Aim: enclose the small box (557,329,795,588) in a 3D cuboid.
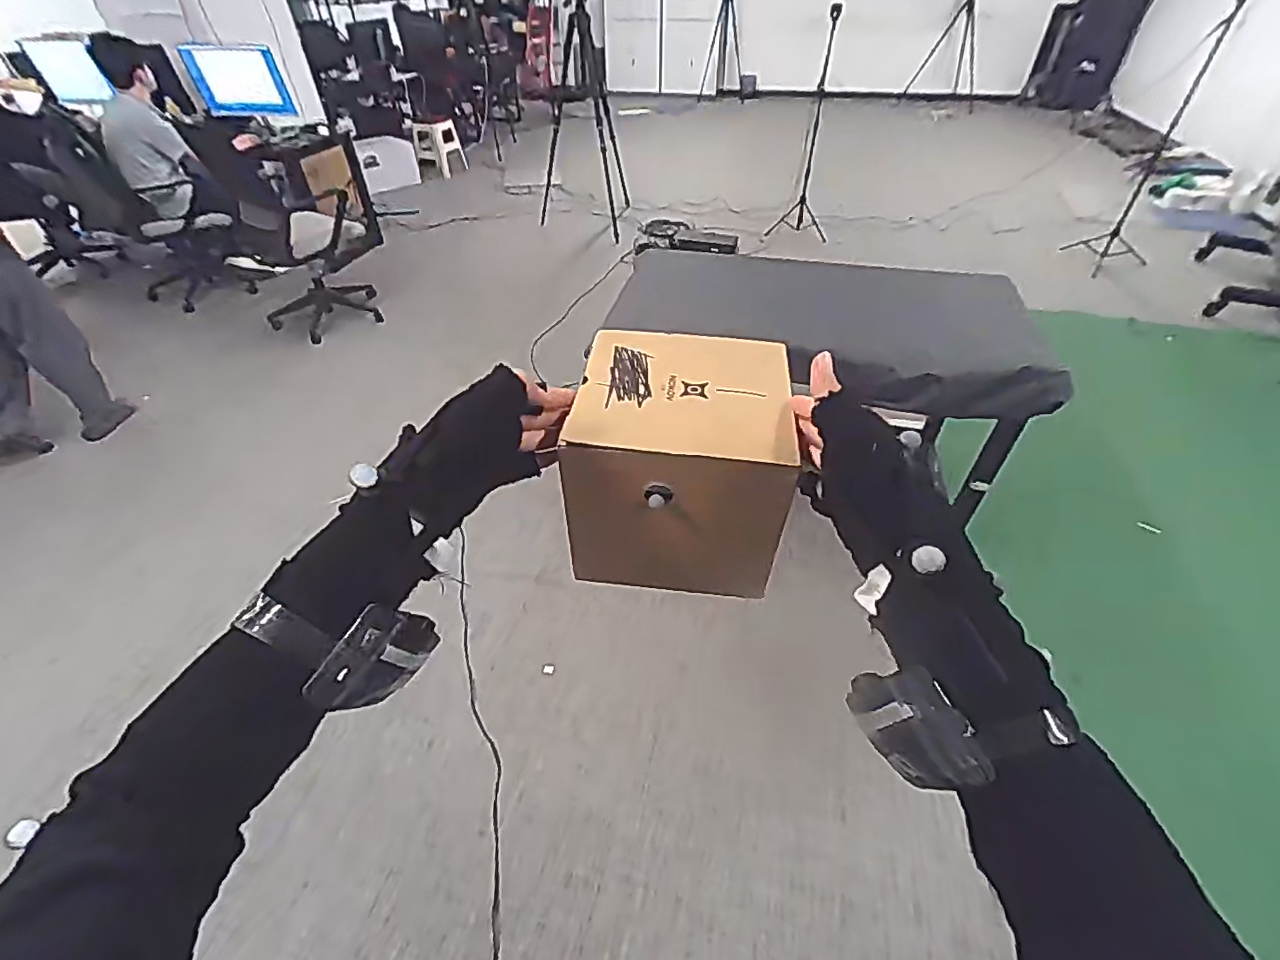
[{"bbox_3d":[0.034,-0.019,0.497,0.179,0.176,0.168,6,45,5],"label":"small box"}]
